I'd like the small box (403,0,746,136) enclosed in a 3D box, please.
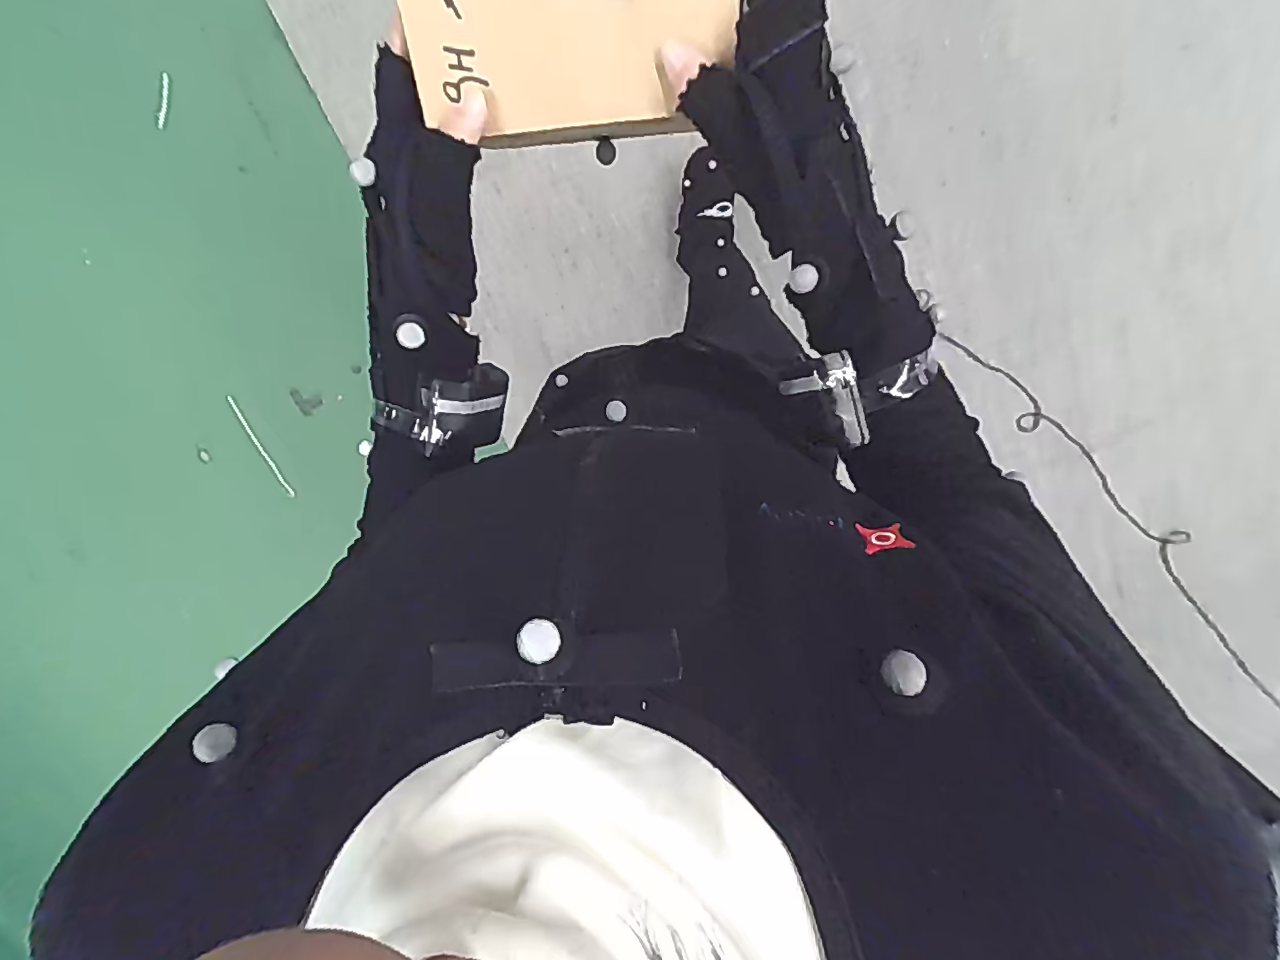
[{"bbox_3d":[-0.036,-0.312,0.324,0.179,0.176,0.168,-3,119,2],"label":"small box"}]
